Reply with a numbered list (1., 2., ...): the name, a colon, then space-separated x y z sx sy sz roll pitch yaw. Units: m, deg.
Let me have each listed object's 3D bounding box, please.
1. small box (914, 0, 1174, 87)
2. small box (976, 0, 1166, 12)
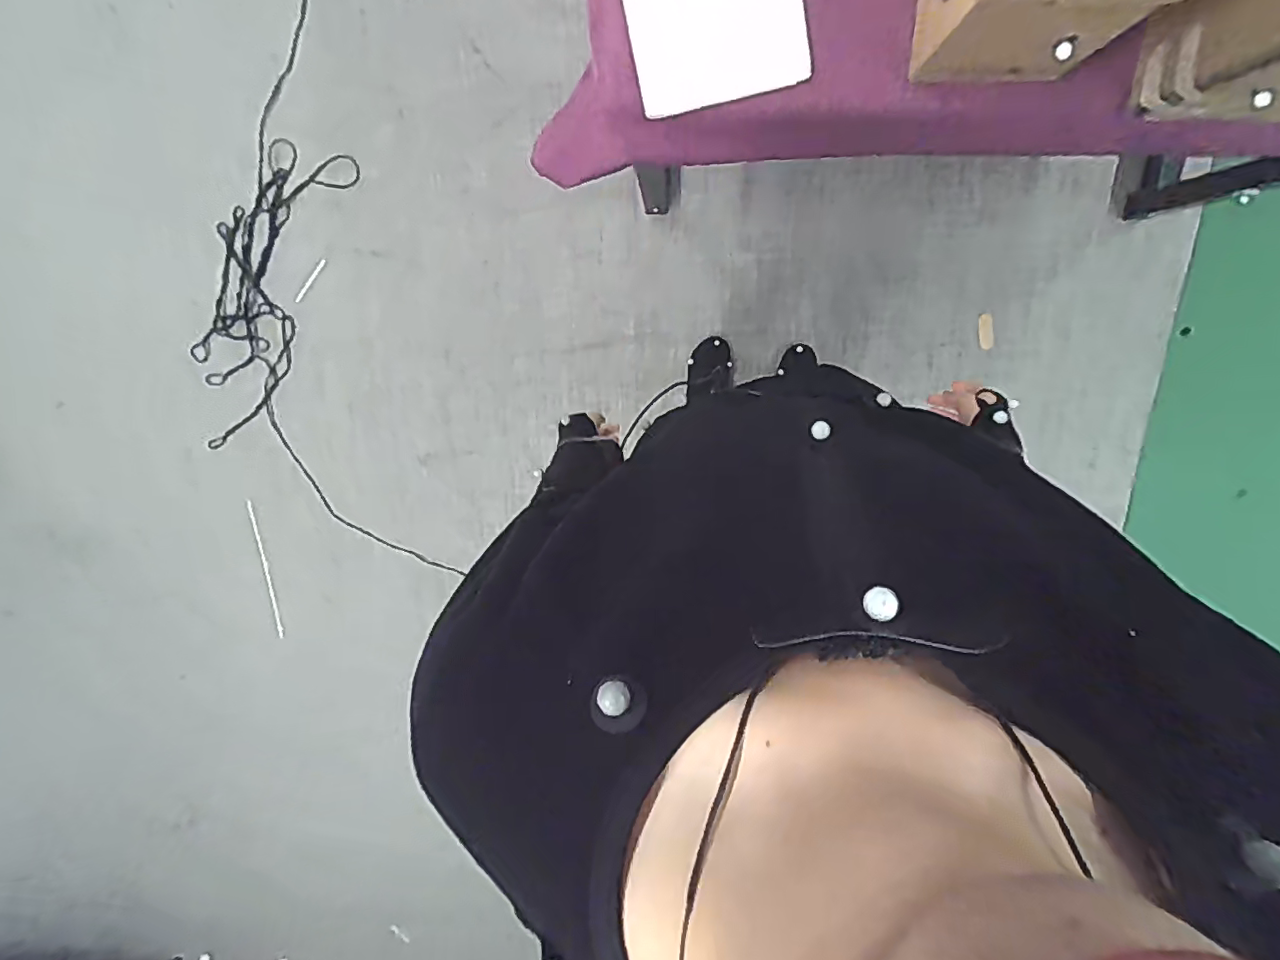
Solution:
1. small box: 0.390 -0.515 0.526 0.168 0.176 0.179 3 104 3
2. small box: 0.372 -0.465 0.370 0.179 0.176 0.168 3 104 3
